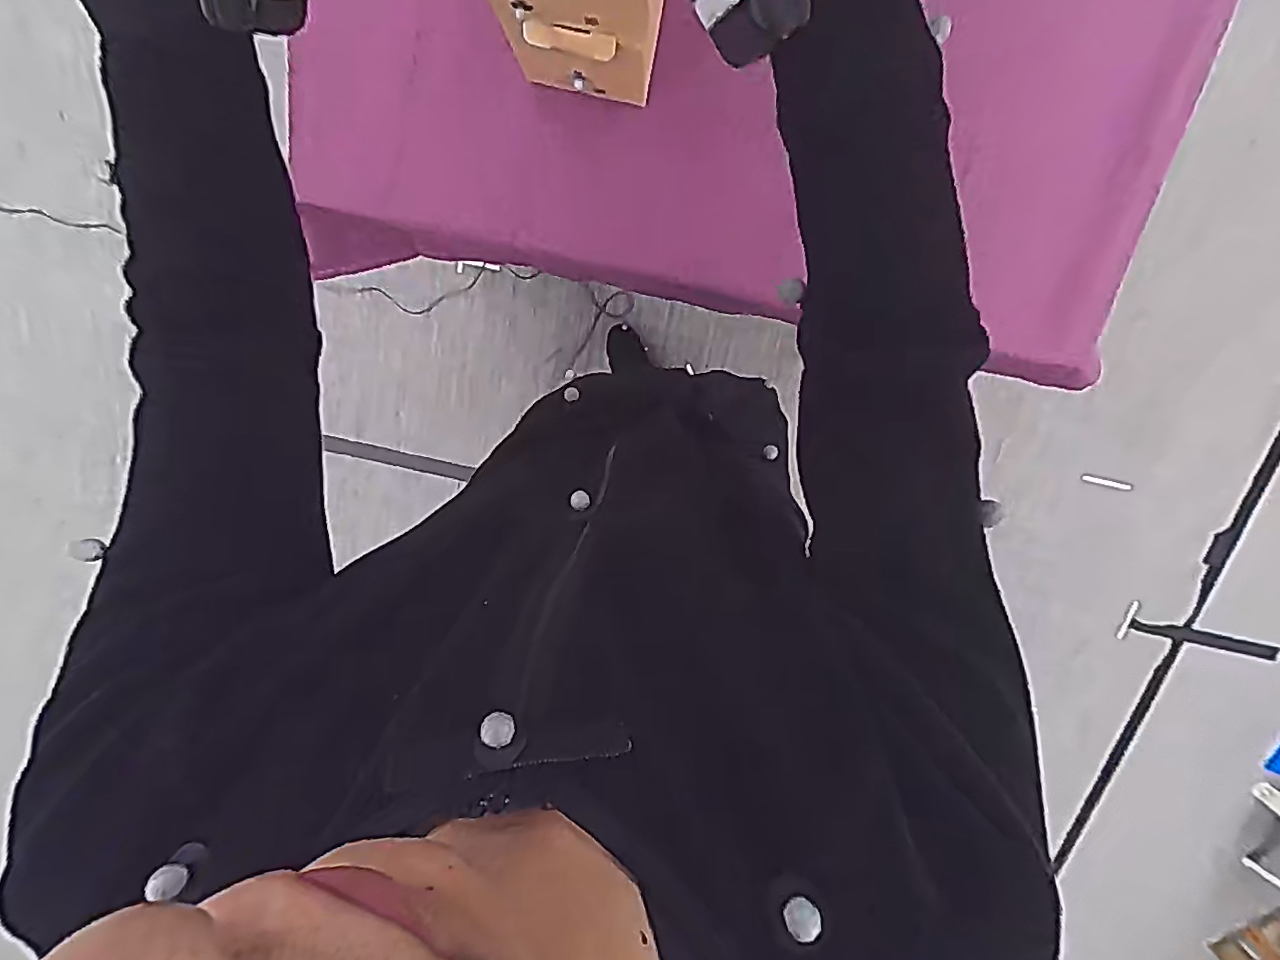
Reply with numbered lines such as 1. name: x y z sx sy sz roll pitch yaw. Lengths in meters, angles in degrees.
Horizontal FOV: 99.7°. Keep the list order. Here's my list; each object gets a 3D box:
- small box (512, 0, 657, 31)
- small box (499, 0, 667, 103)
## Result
1. small box: -0.057 -0.543 0.474 0.168 0.176 0.179 8 105 -2
2. small box: -0.053 -0.586 0.633 0.168 0.176 0.179 12 106 -2
